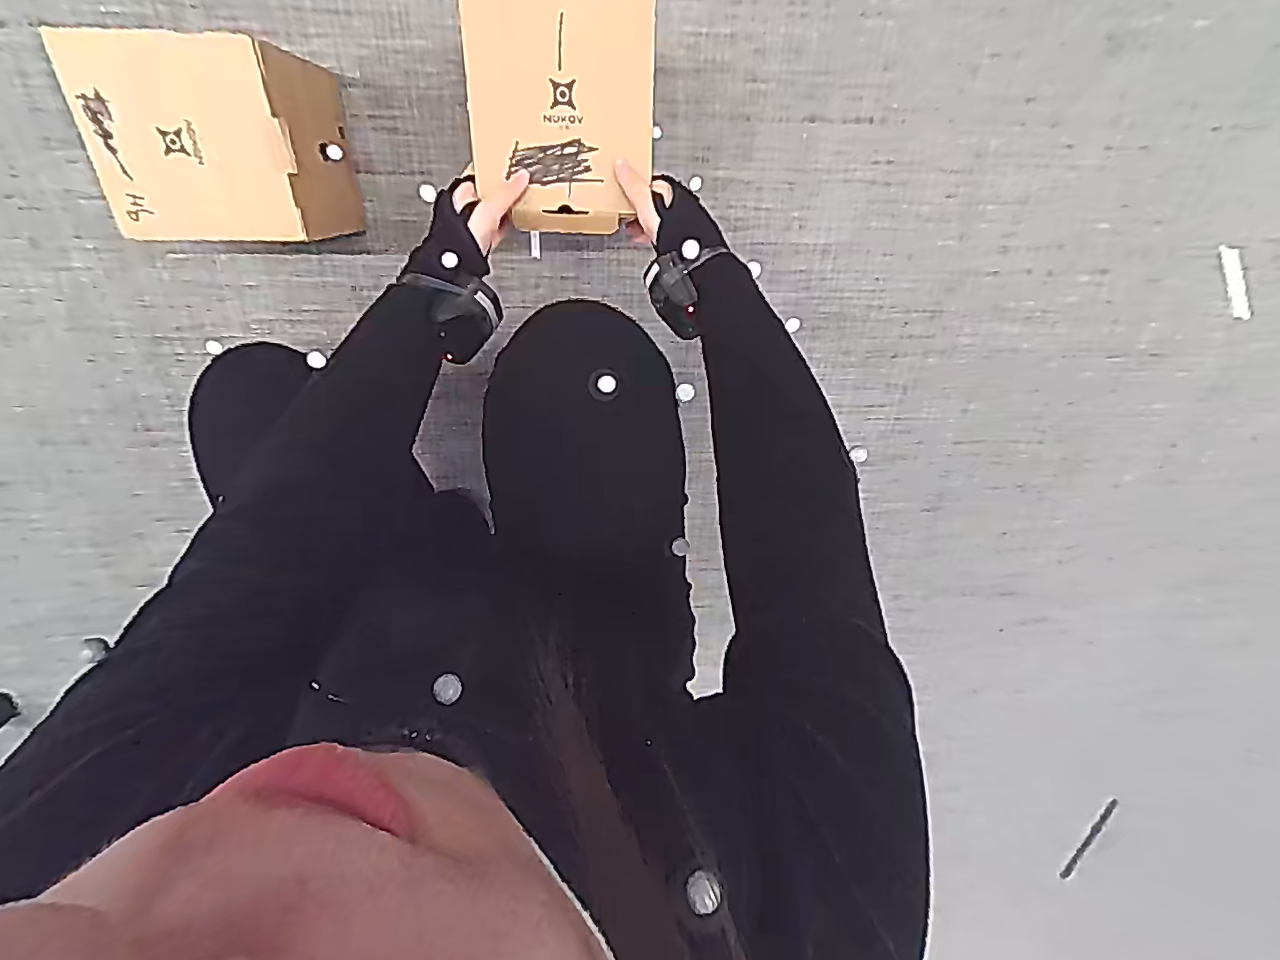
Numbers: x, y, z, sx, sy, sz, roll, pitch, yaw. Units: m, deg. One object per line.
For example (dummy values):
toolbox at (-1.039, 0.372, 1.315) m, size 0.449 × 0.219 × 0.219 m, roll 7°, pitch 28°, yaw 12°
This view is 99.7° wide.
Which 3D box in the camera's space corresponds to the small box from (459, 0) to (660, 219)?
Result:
small box at (-0.073, -0.360, 0.537) m, size 0.168 × 0.176 × 0.179 m, roll 0°, pitch 114°, yaw -5°

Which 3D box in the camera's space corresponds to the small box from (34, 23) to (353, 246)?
small box at (-0.420, -0.341, 0.556) m, size 0.179 × 0.176 × 0.168 m, roll -1°, pitch 119°, yaw -5°
